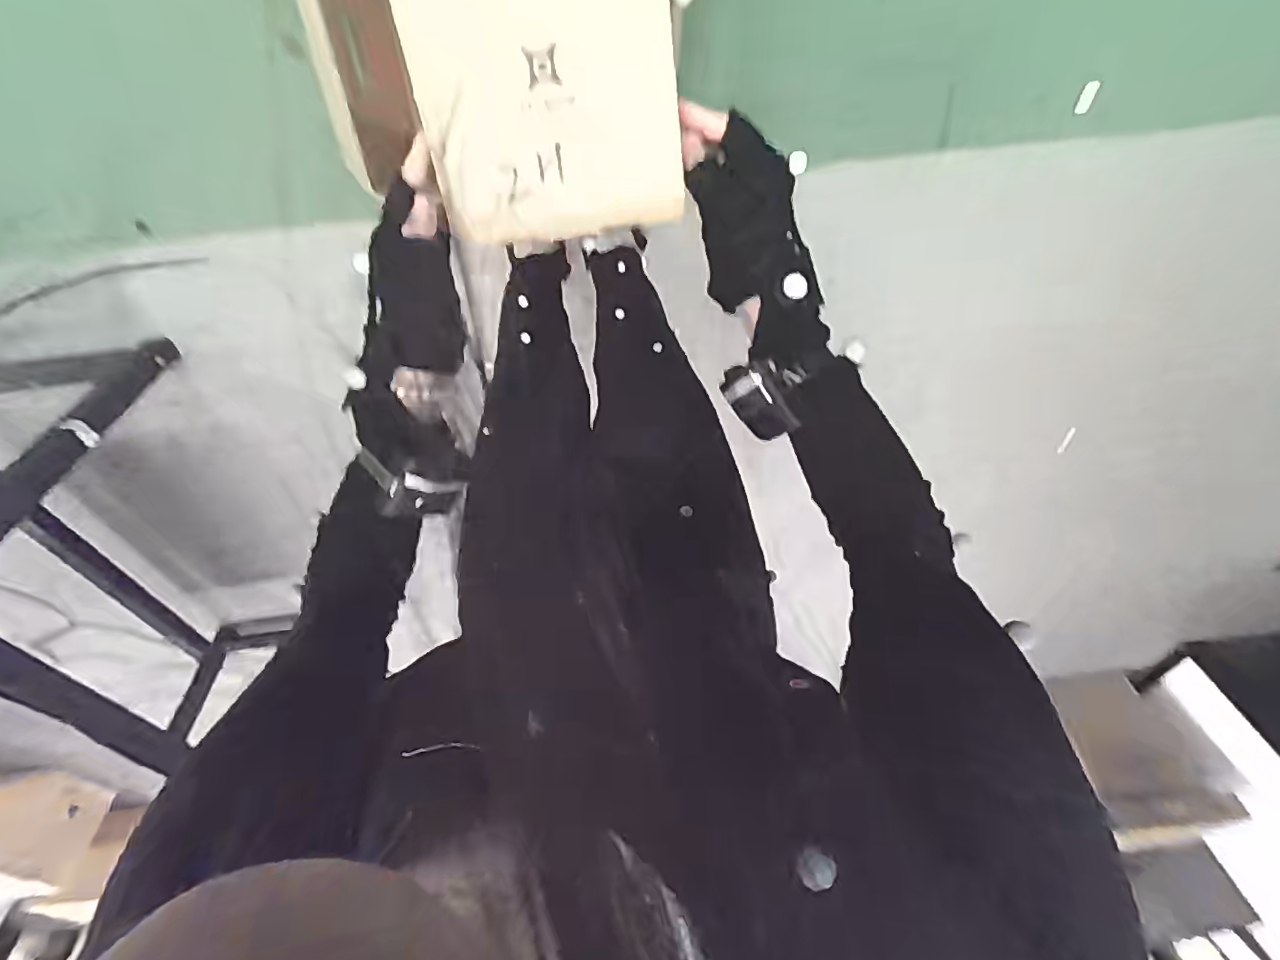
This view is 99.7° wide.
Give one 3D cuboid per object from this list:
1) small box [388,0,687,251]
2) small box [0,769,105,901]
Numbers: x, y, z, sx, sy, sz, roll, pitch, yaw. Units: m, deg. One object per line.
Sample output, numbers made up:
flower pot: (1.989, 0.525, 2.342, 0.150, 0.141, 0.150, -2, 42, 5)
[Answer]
small box: (-0.058, -0.277, 0.400, 0.168, 0.176, 0.179, -6, 117, 5)
small box: (-1.190, 0.667, 1.014, 0.179, 0.176, 0.168, -8, 134, -1)
